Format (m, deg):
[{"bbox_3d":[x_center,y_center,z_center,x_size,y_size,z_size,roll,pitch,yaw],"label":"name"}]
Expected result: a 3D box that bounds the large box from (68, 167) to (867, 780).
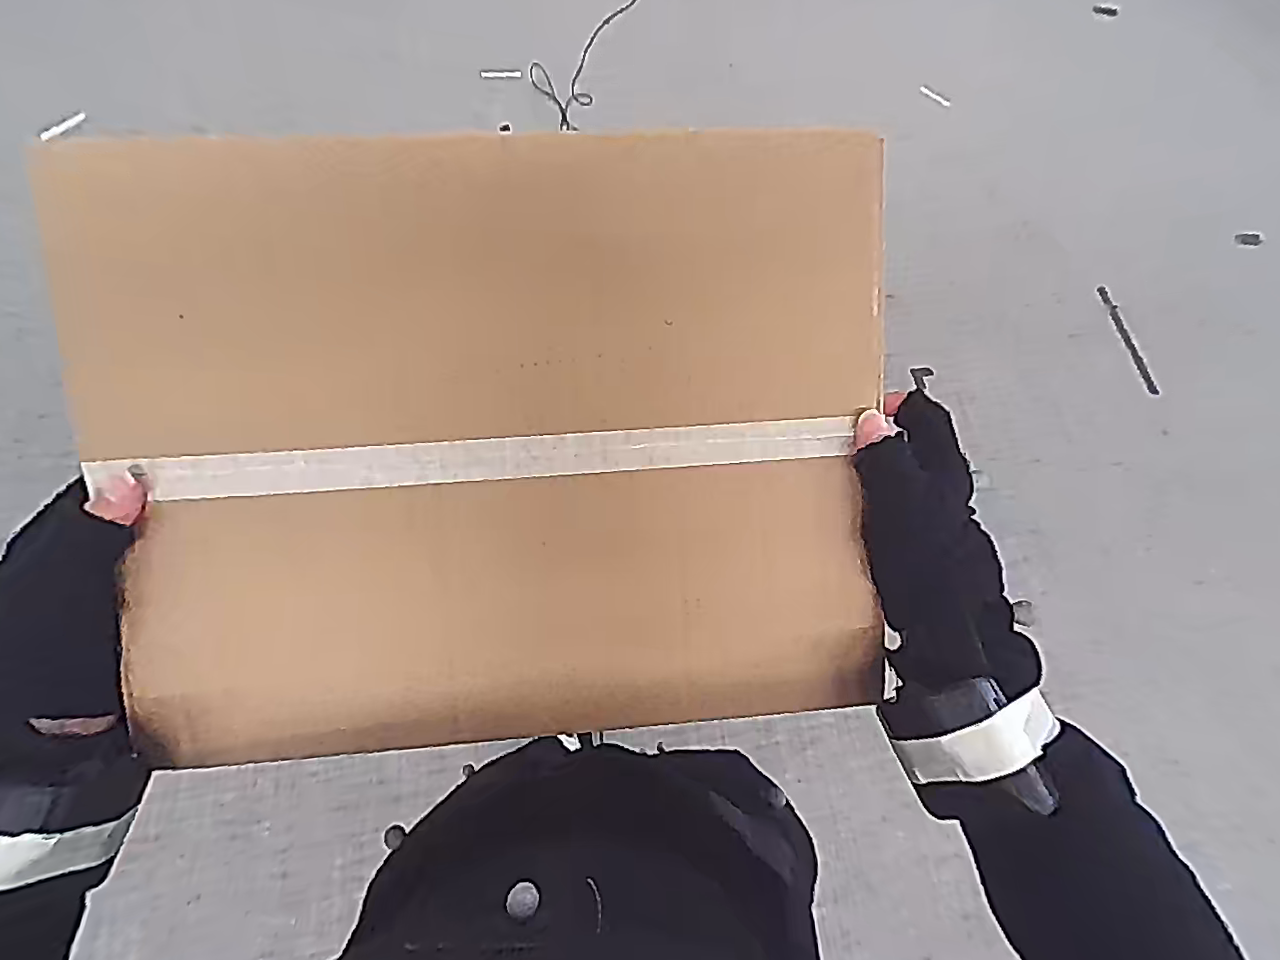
[{"bbox_3d":[-0.079,-0.019,0.439,0.408,0.320,0.320,-4,97,-4],"label":"large box"}]
